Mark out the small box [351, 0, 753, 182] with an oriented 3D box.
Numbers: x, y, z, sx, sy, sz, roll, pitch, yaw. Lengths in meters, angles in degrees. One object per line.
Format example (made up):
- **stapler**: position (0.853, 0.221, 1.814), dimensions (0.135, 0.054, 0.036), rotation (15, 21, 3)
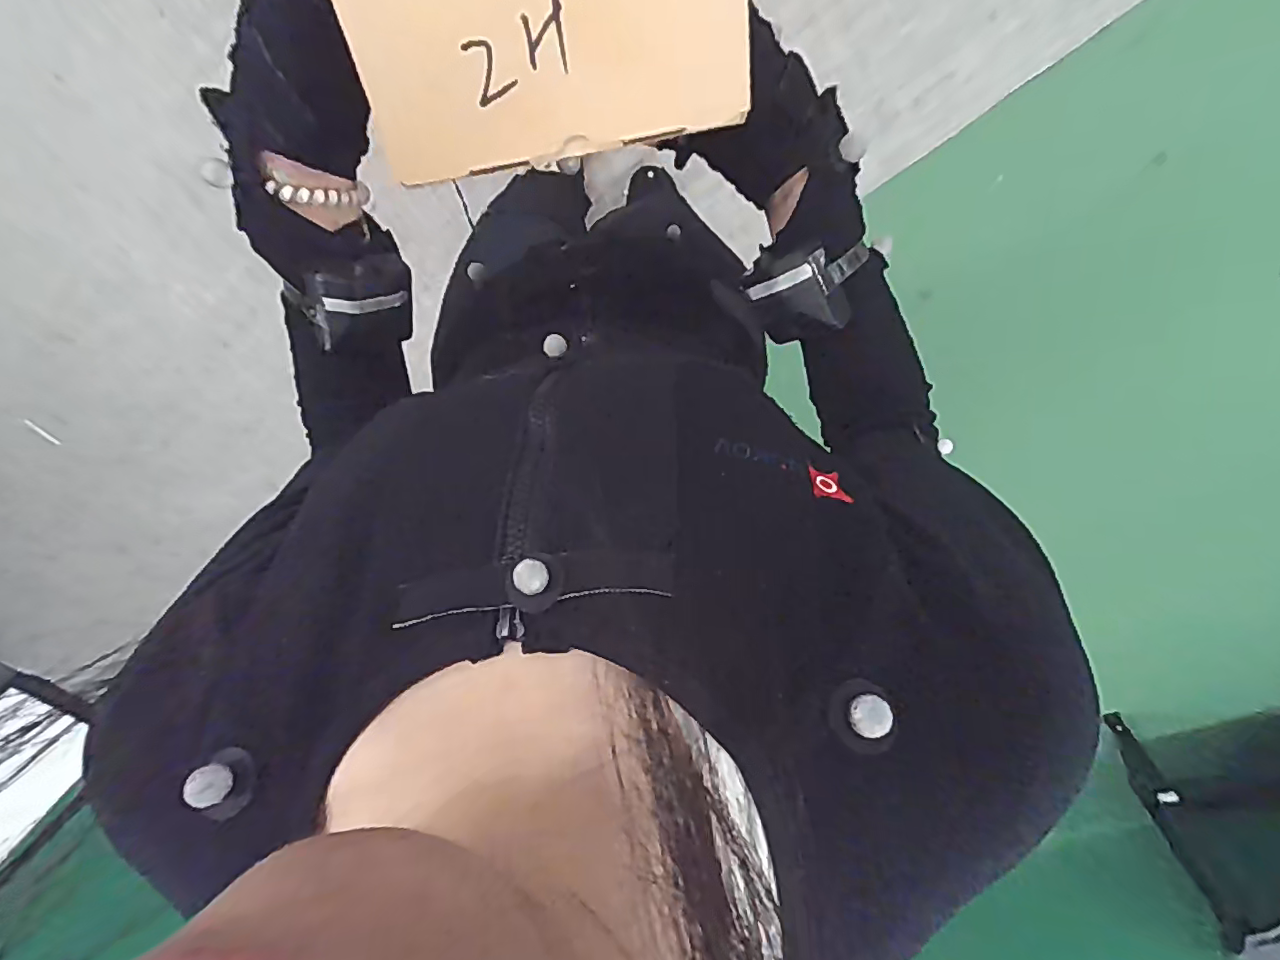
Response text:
- **small box**: position (-0.051, -0.266, 0.268), dimensions (0.168, 0.176, 0.179), rotation (-12, 126, -3)
